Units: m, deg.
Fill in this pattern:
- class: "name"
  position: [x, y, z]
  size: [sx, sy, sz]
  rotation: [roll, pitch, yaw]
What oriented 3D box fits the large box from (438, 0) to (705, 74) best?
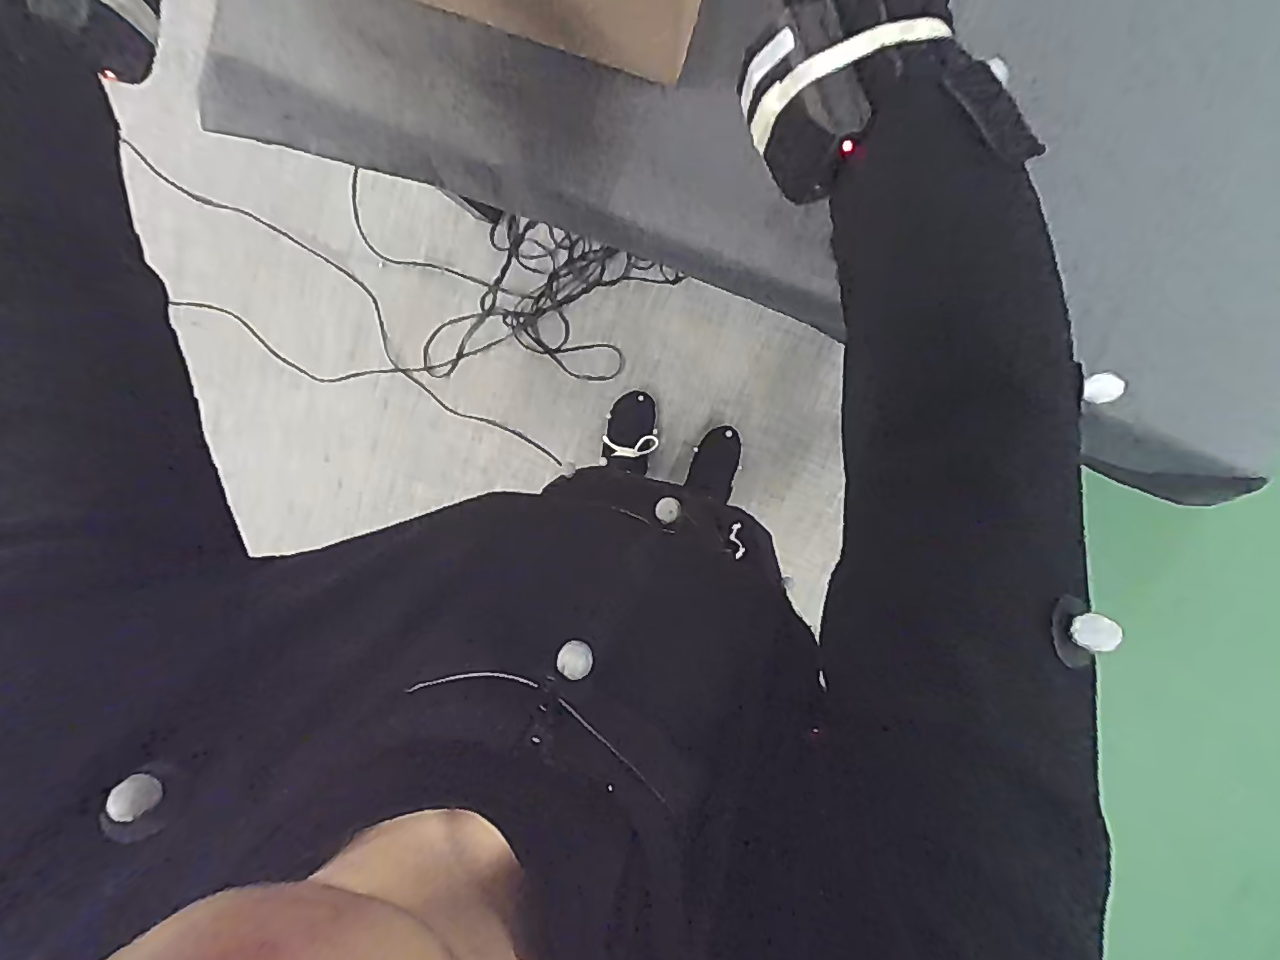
- class: "large box"
  position: [-0.106, -0.551, 0.341]
  size: [0.408, 0.320, 0.320]
  rotation: [15, 103, -4]
